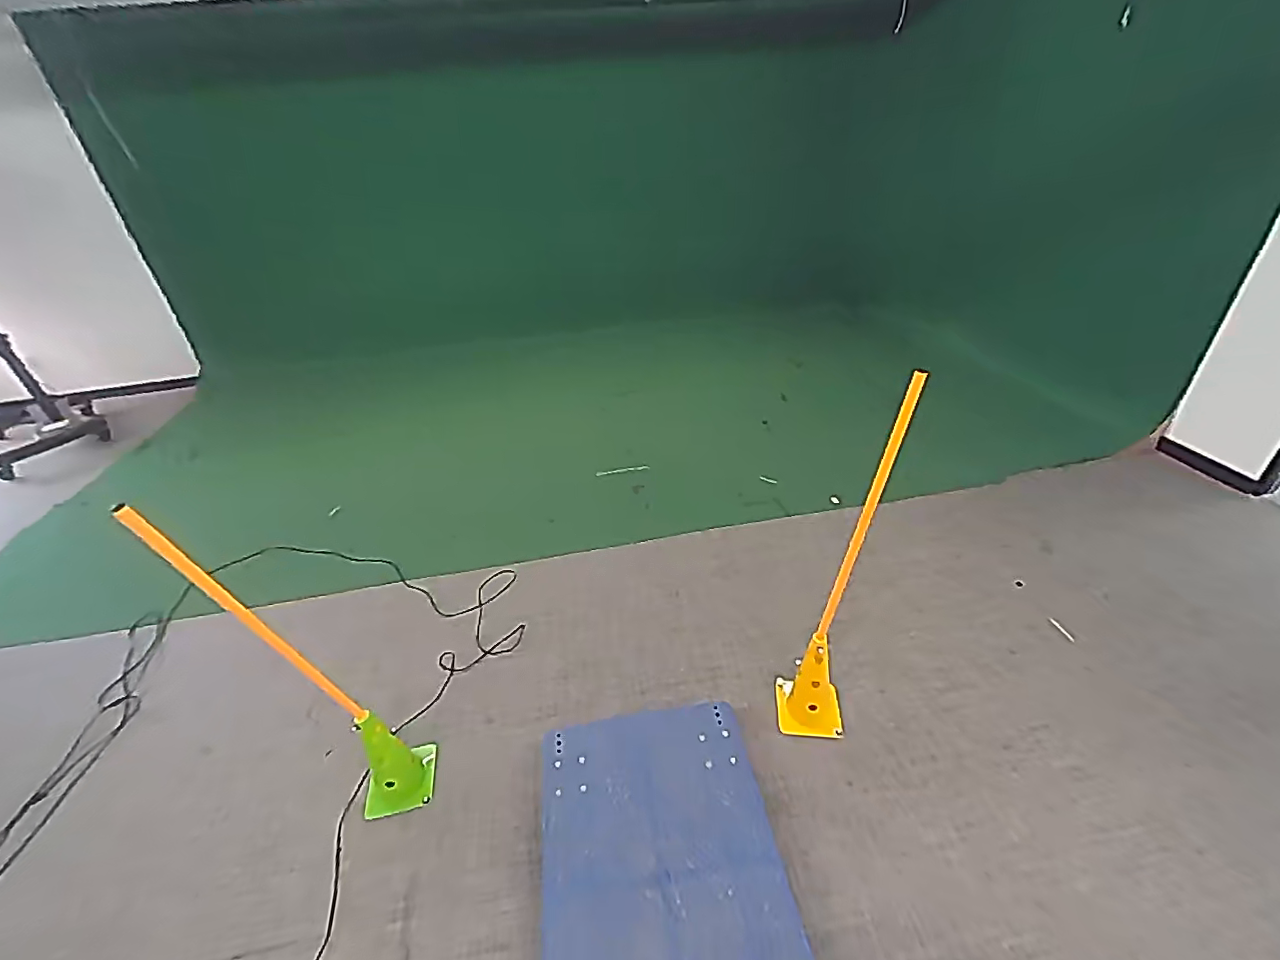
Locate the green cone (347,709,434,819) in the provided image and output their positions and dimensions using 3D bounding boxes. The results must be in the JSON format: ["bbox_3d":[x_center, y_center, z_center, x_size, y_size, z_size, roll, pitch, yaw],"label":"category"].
[{"bbox_3d":[-0.771,0.798,1.605,0.202,0.368,0.200,-12,34,-8],"label":"green cone"}]
